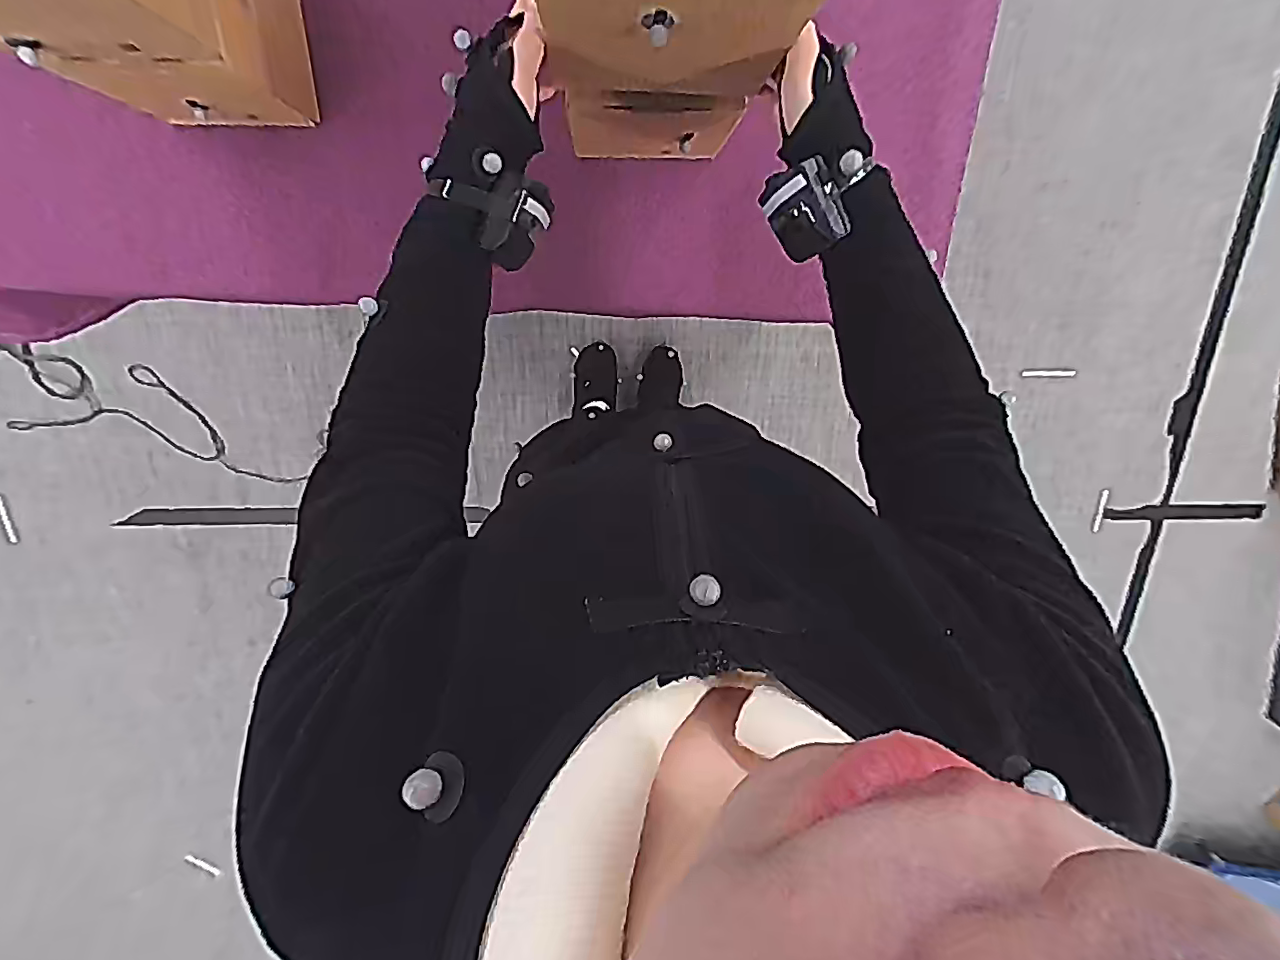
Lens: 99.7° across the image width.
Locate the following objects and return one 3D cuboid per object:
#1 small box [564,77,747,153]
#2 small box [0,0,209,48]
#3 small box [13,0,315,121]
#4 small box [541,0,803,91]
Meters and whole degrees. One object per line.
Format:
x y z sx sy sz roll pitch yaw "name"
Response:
0.012 -0.439 0.532 0.168 0.176 0.179 -1 108 -4 "small box"
-0.427 -0.409 0.343 0.168 0.176 0.179 -3 108 -3 "small box"
-0.436 -0.460 0.499 0.168 0.176 0.179 -1 109 -3 "small box"
0.020 -0.383 0.356 0.179 0.176 0.168 0 108 -4 "small box"
